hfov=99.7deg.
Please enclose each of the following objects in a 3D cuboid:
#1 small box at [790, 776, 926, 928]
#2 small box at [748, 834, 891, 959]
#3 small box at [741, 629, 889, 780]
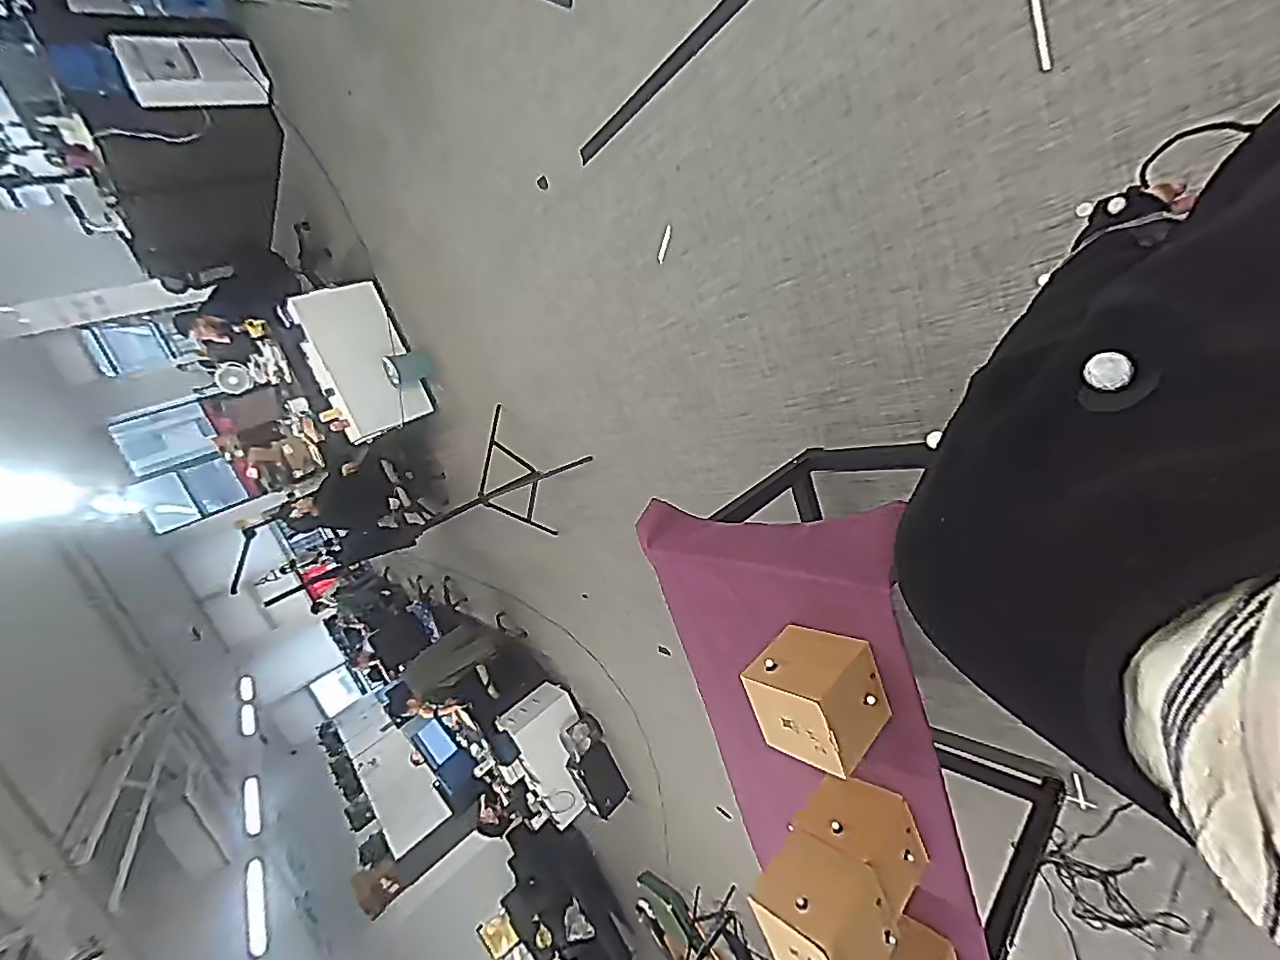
[{"bbox_3d":[0.447,0.743,1.106,0.179,0.176,0.168,-10,107,53],"label":"small box"},{"bbox_3d":[0.339,0.808,1.000,0.179,0.176,0.168,-8,108,54],"label":"small box"},{"bbox_3d":[0.324,0.398,0.997,0.179,0.176,0.168,-3,114,53],"label":"small box"}]
